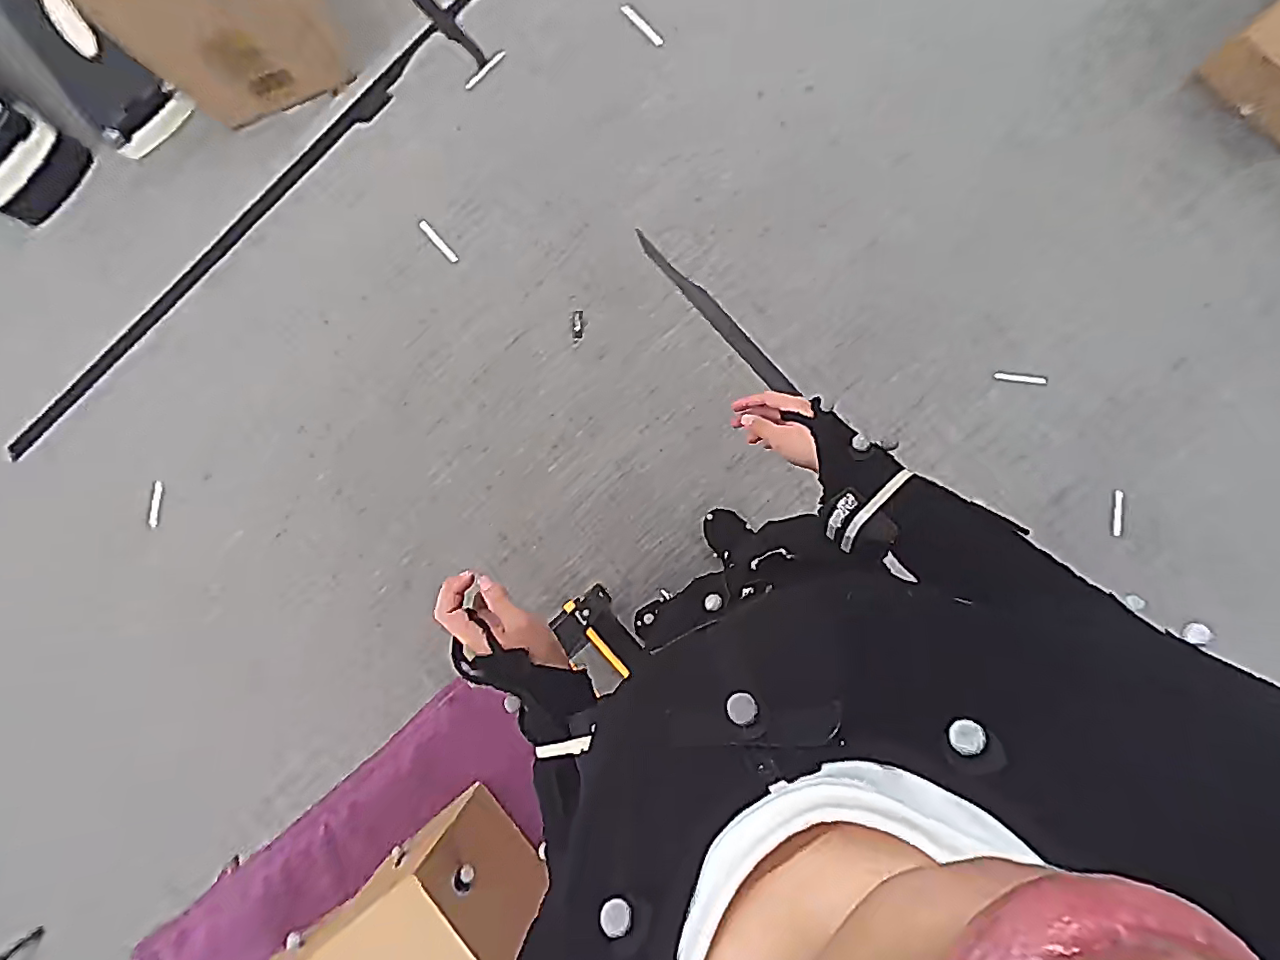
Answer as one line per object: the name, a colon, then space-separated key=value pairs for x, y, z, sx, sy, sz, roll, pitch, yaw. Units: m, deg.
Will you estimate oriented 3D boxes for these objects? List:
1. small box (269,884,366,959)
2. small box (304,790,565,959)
small box: x=-0.358 y=0.623 z=0.610 sx=0.168 sy=0.176 sz=0.179 roll=-36 pitch=85 yaw=1
small box: x=-0.211 y=0.487 z=0.602 sx=0.168 sy=0.176 sz=0.179 roll=-41 pitch=86 yaw=4
